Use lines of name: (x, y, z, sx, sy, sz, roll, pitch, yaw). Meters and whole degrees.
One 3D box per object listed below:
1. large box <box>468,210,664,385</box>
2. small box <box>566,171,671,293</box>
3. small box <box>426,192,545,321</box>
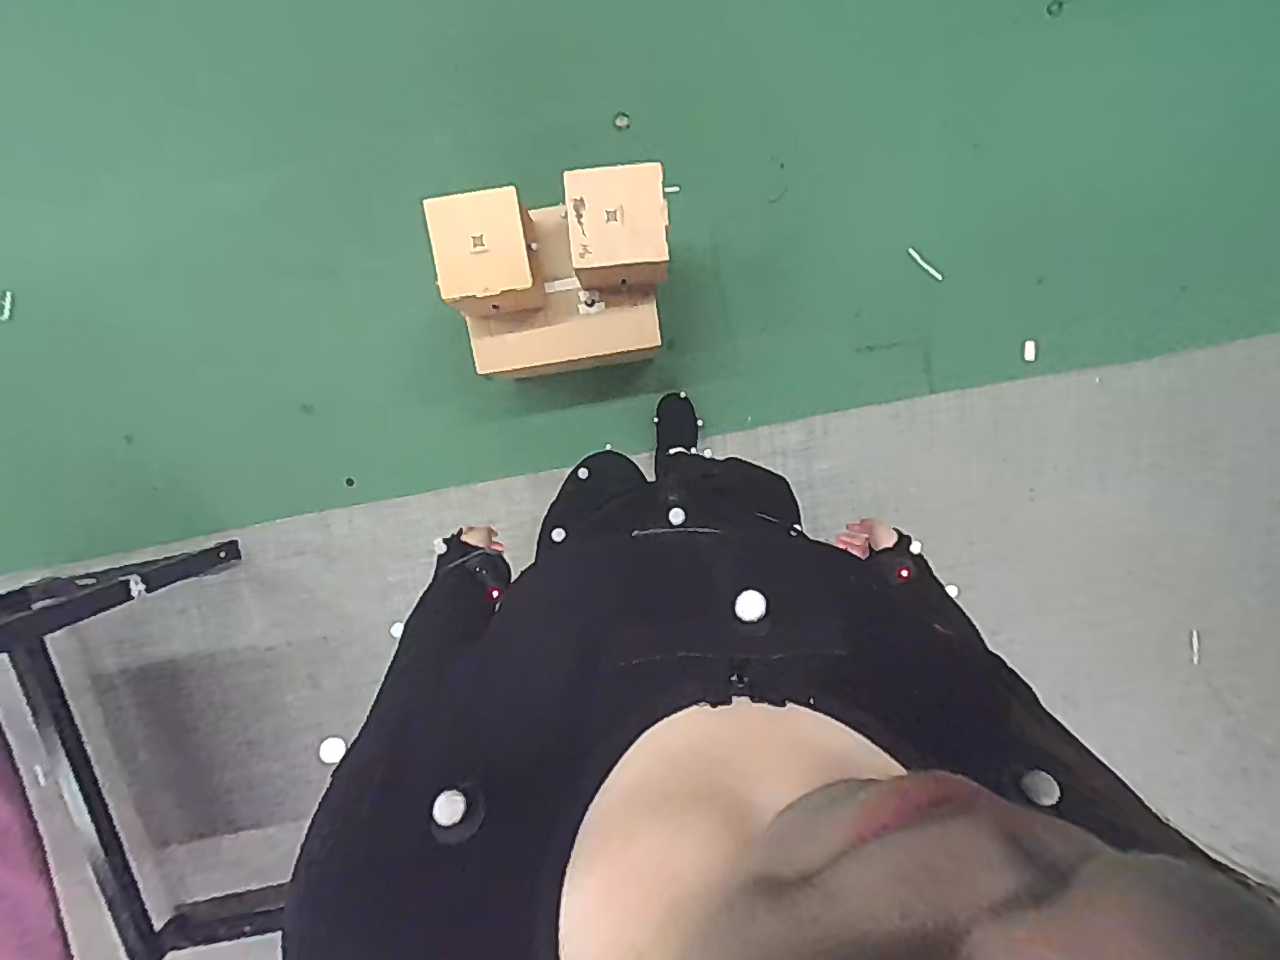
large box: (-0.173, -0.415, 1.273, 0.408, 0.320, 0.320, -9, 98, 0)
small box: (-0.038, -0.459, 1.021, 0.179, 0.176, 0.168, -4, 97, 0)
small box: (-0.283, -0.414, 1.027, 0.168, 0.176, 0.179, -9, 97, 0)
